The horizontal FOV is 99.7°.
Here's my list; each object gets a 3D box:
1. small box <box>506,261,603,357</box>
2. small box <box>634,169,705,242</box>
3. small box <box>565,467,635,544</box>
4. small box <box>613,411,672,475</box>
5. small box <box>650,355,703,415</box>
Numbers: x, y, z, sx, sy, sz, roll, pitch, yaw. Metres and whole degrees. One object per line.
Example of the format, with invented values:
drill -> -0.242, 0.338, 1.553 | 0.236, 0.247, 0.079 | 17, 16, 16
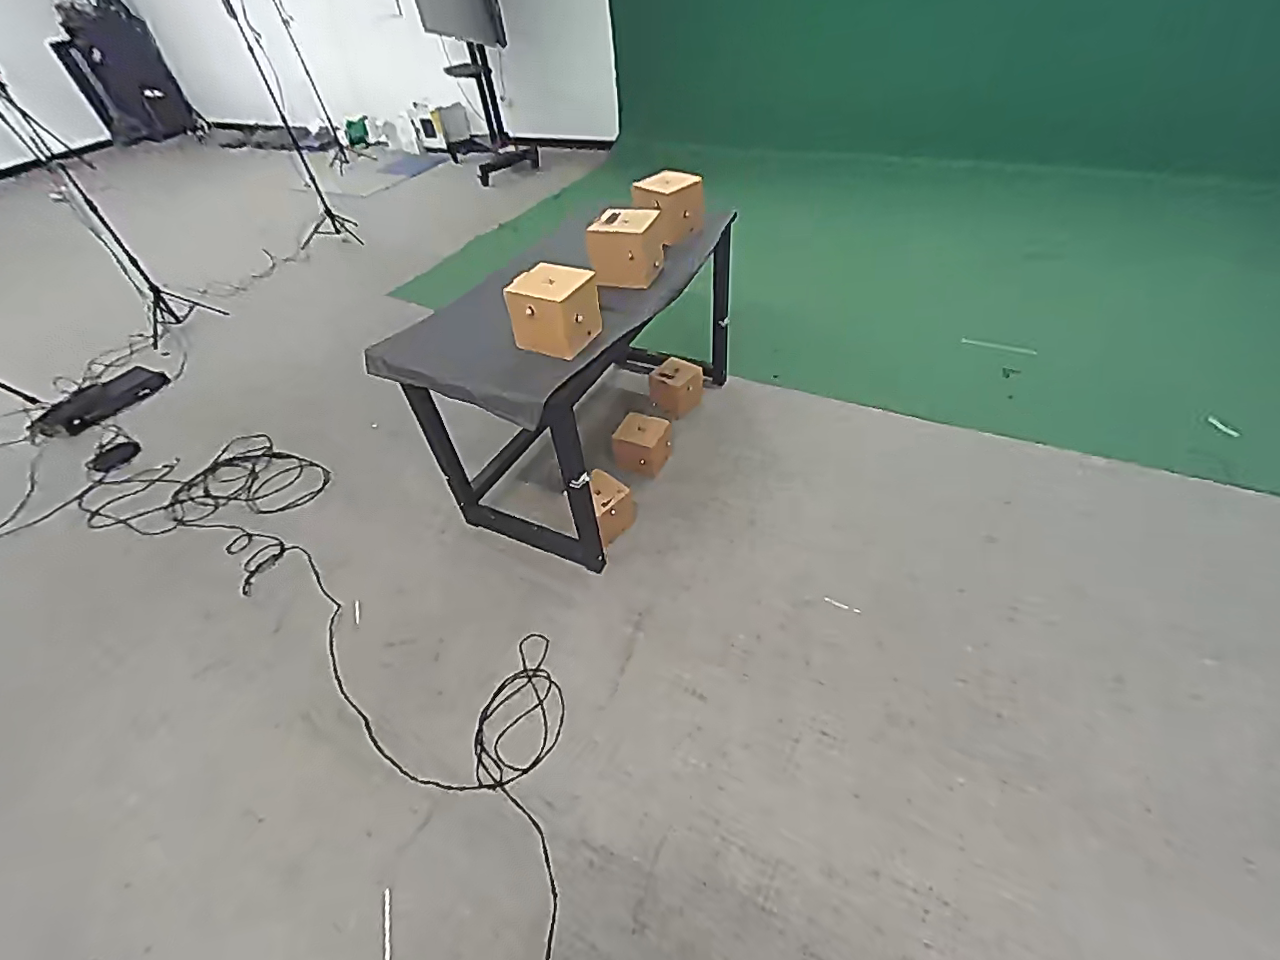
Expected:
small box -> -0.211, -0.440, 1.401 | 0.179, 0.176, 0.168 | 19, 51, 23
small box -> 0.105, -0.926, 1.829 | 0.168, 0.176, 0.179 | -35, 50, -25
small box -> -0.135, 0.091, 1.896 | 0.179, 0.176, 0.168 | 33, 58, 32
small box -> 0.016, -0.141, 2.101 | 0.179, 0.176, 0.168 | 15, 49, 21
small box -> 0.162, -0.409, 2.342 | 0.168, 0.176, 0.179 | 29, 54, 29
